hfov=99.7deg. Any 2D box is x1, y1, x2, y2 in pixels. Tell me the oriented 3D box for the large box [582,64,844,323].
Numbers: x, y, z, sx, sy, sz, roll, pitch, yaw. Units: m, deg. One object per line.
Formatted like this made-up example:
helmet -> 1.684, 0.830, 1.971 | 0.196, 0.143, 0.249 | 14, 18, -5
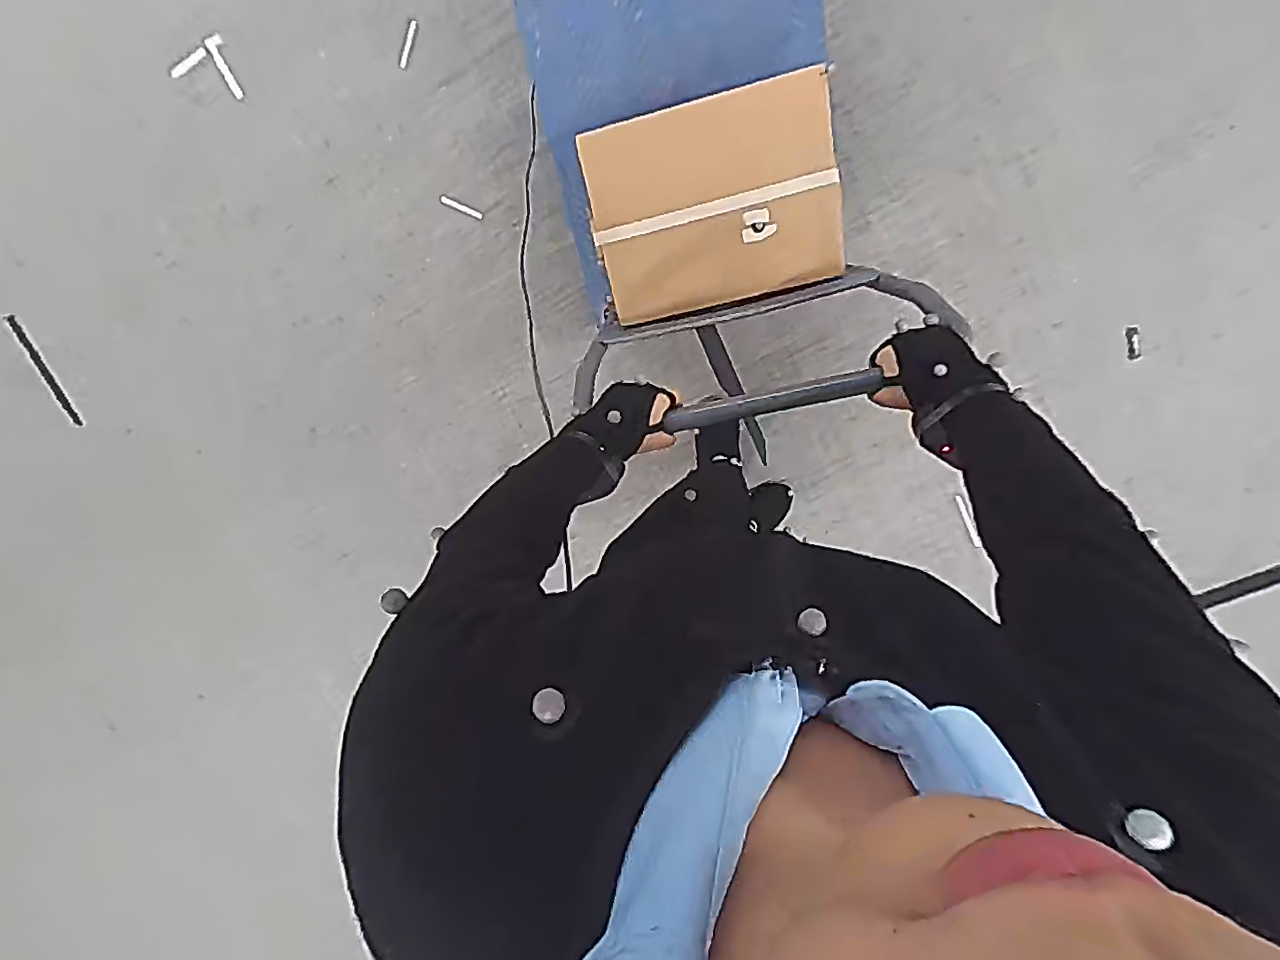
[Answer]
large box -> 0.136, -0.524, 1.059 | 0.408, 0.320, 0.320 | -12, 112, 7
